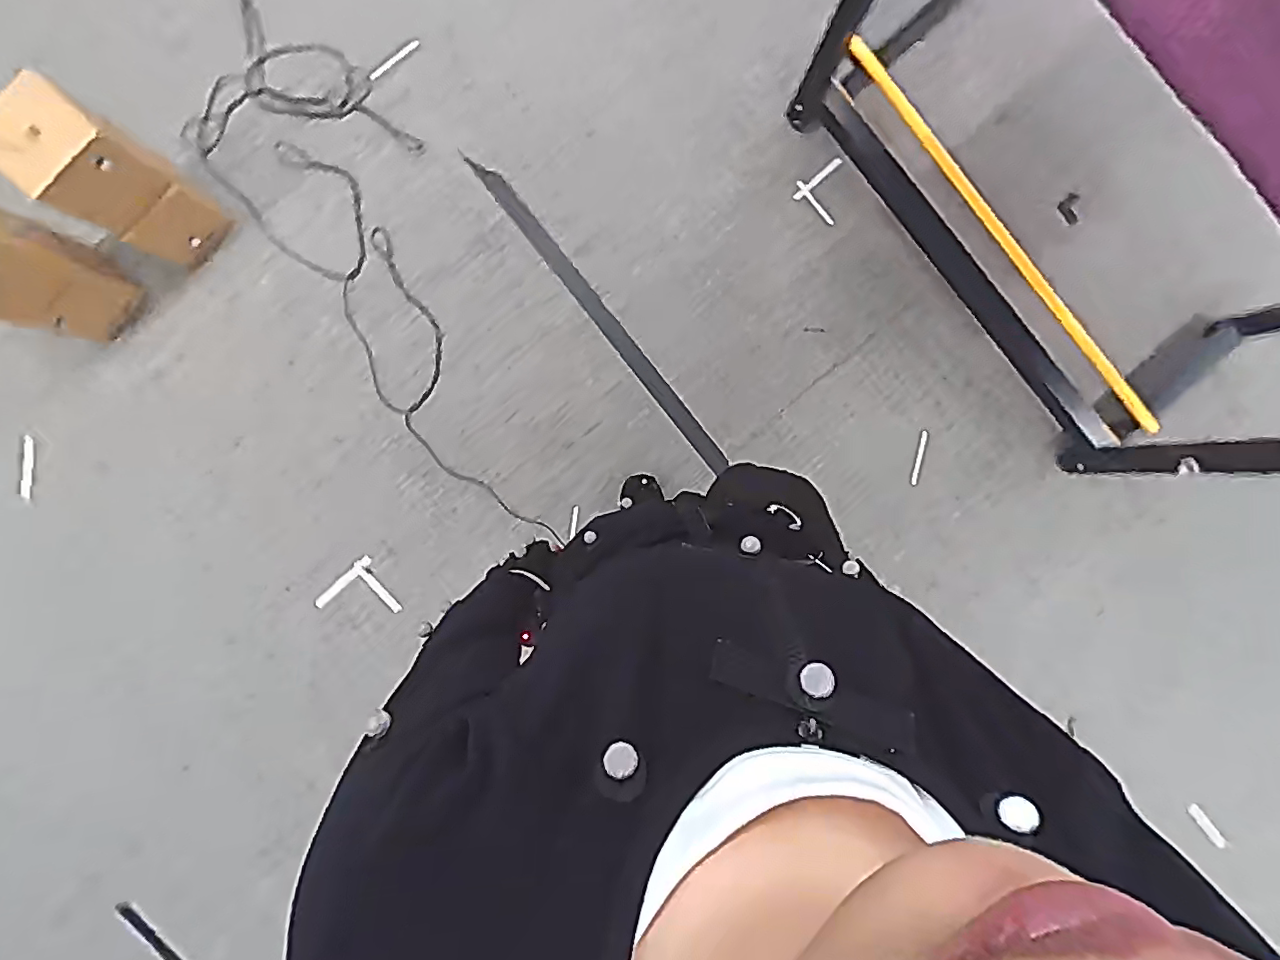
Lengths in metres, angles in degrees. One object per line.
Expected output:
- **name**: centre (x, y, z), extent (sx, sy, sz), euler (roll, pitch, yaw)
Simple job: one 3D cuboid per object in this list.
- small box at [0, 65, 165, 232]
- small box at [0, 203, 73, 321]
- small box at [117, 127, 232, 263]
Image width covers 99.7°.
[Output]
- **small box**: centre (-1.086, -0.627, 1.046), extent (0.168, 0.176, 0.179), euler (44, 90, -2)
- **small box**: centre (-1.280, -0.441, 1.047), extent (0.168, 0.176, 0.179), euler (43, 90, -3)
- **small box**: centre (-1.084, -0.625, 1.211), extent (0.168, 0.176, 0.179), euler (-44, 94, 0)
